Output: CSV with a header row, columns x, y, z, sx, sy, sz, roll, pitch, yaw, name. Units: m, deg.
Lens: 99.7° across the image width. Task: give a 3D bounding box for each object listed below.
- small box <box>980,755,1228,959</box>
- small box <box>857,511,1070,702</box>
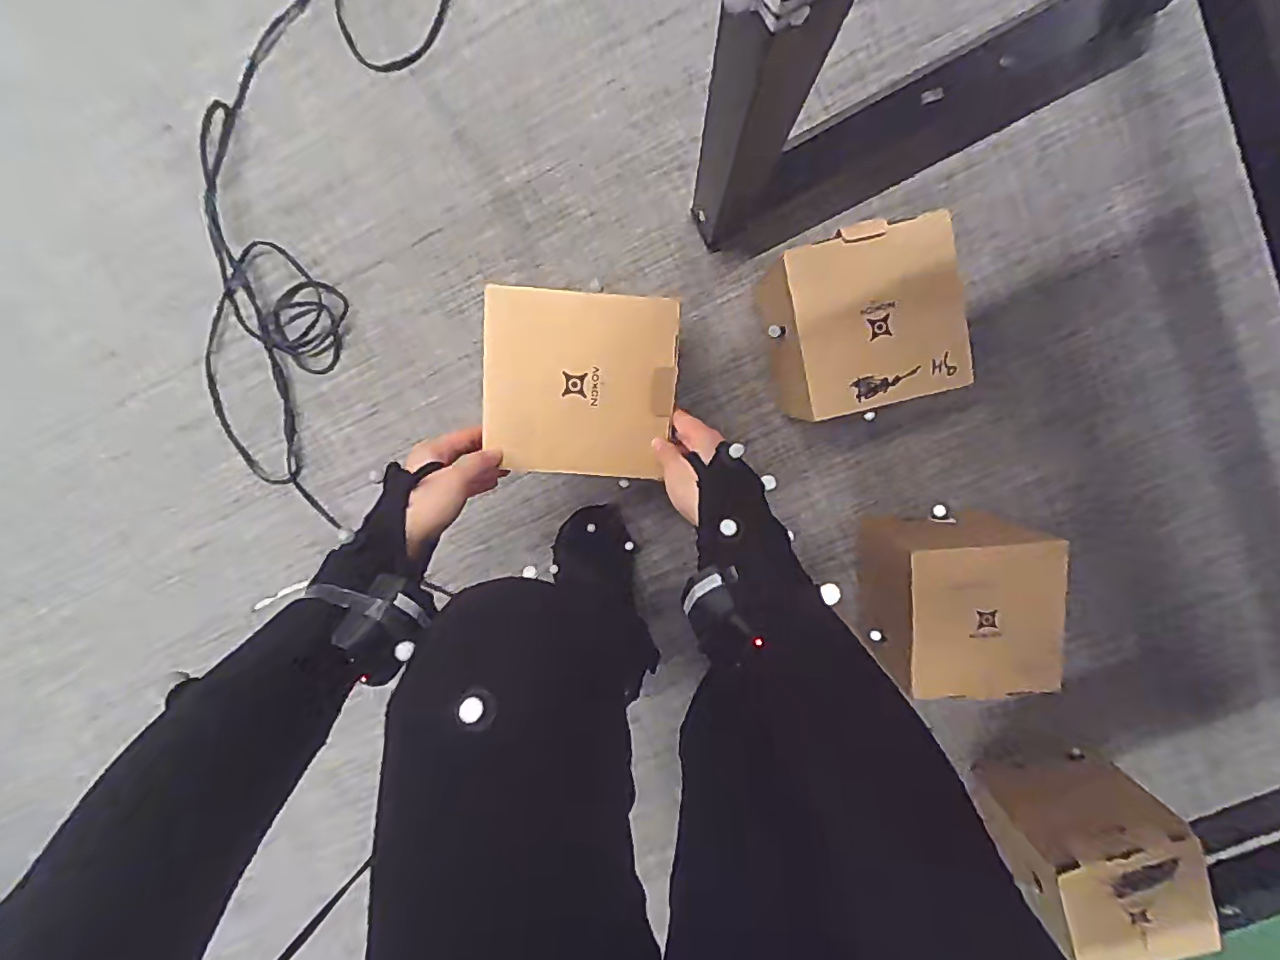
x,y,z,sx,sy,sz,roll,pitch,yaw,name
0.584,0.492,0.705,0.168,0.176,0.179,-19,98,5,small box
0.378,0.144,0.661,0.168,0.176,0.179,-5,97,2,small box
